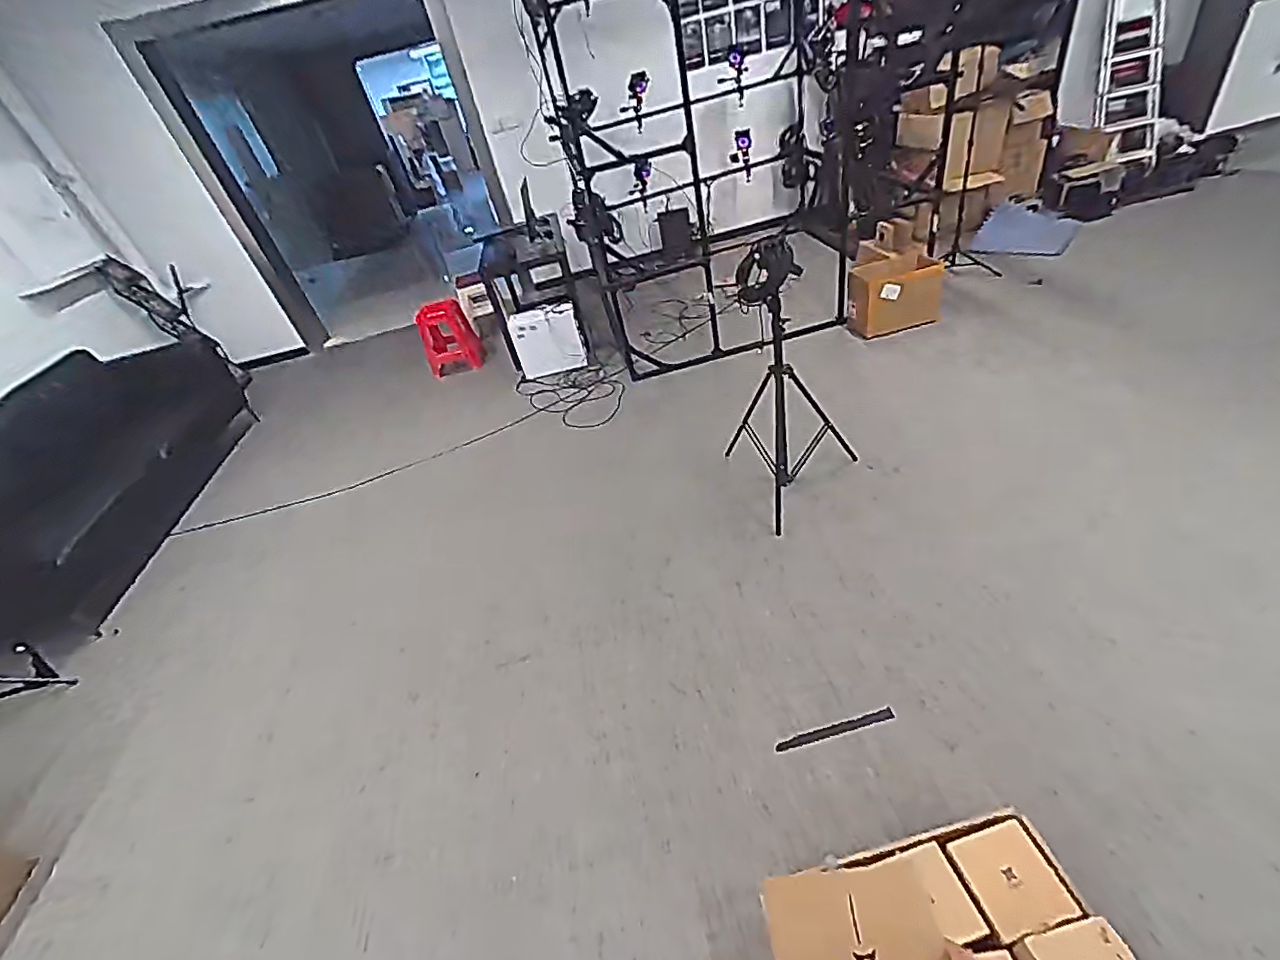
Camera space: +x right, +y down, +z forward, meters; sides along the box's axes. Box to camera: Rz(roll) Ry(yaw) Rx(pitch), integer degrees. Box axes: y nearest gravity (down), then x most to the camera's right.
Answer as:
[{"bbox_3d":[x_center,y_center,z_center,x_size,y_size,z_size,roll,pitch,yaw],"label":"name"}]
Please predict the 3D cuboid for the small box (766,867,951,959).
[{"bbox_3d":[0.238,0.538,0.590,0.168,0.176,0.179,-9,51,4],"label":"small box"}]
